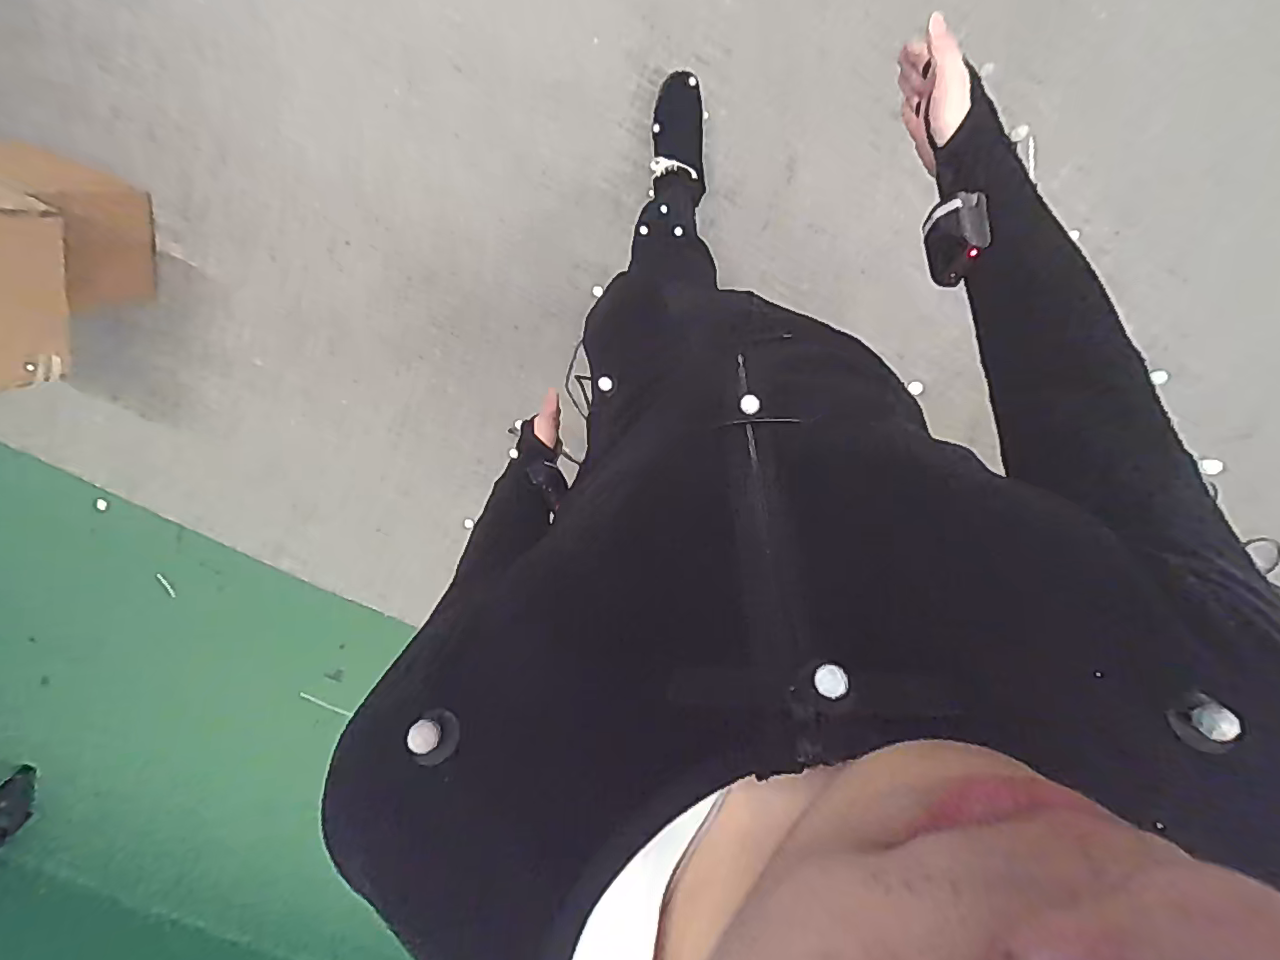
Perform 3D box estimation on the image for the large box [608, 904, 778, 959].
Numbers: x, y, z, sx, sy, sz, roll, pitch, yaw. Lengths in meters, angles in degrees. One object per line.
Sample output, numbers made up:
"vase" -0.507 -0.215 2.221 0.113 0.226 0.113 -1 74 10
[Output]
"large box" 0.140 1.432 1.447 0.408 0.320 0.320 28 114 -9
